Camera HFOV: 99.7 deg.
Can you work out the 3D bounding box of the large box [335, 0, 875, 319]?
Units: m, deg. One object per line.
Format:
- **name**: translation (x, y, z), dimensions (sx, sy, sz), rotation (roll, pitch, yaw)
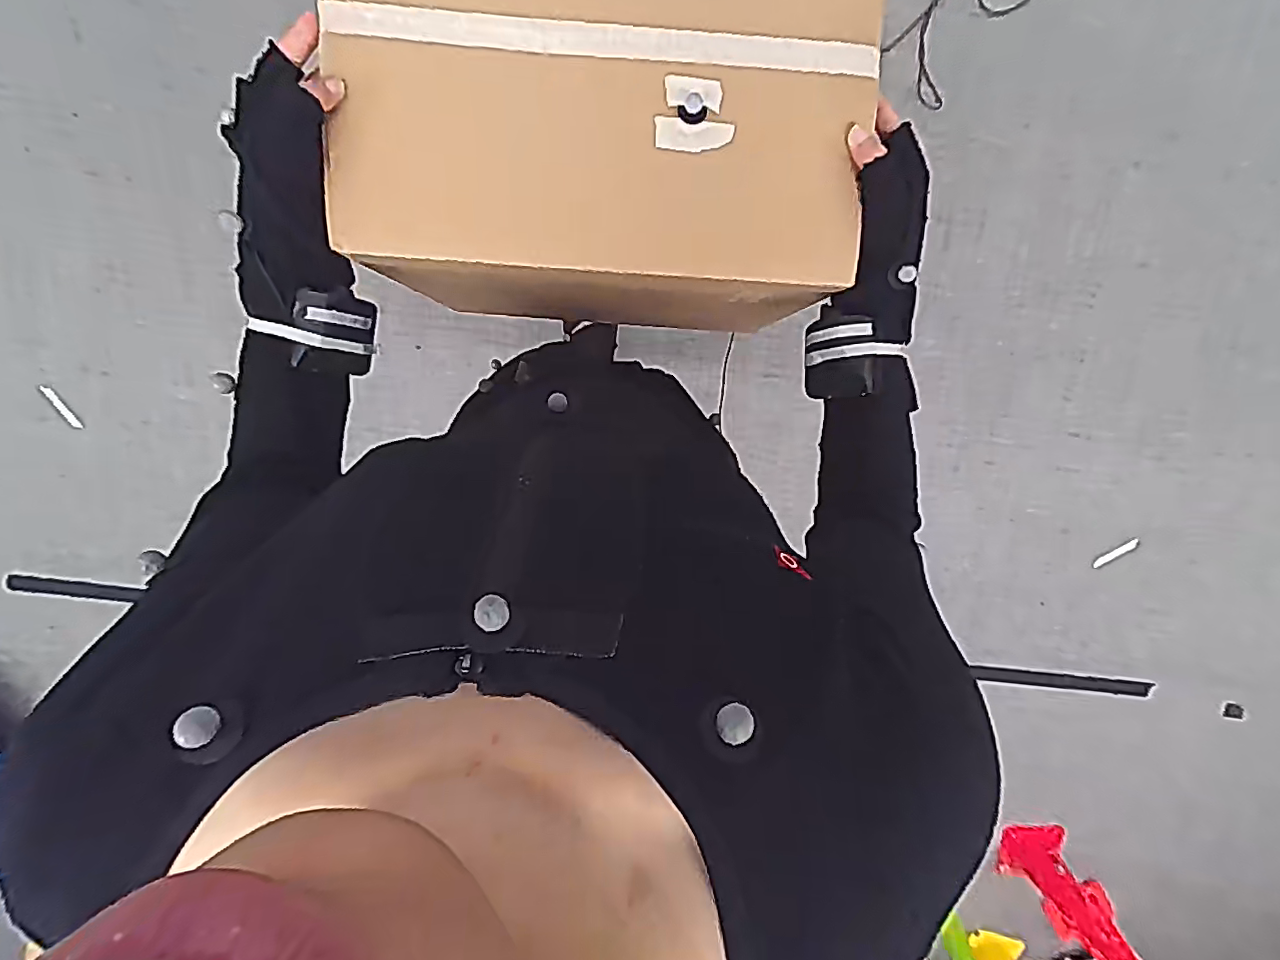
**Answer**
- **large box**: translation (-0.031, -0.352, 0.548), dimensions (0.408, 0.320, 0.320), rotation (3, 99, -3)
